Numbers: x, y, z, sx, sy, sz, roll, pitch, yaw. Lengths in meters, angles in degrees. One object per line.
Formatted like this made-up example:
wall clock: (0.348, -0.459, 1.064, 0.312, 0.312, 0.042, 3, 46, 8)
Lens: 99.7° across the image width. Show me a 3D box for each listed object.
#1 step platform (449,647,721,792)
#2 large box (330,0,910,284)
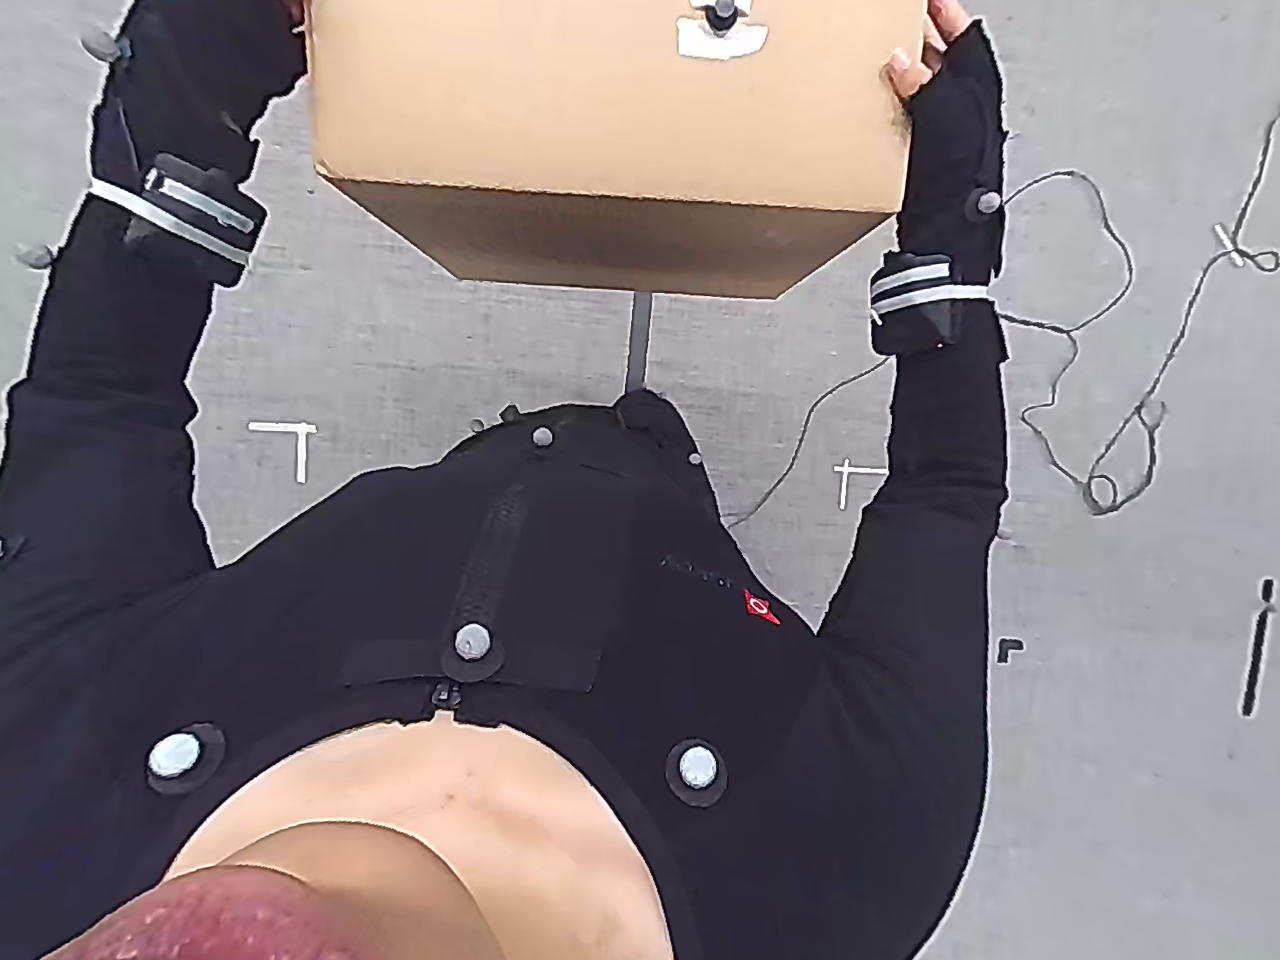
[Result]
step platform: (-0.135, 0.615, 1.399, 0.684, 0.204, 0.286, 3, 92, -1)
large box: (-0.015, -0.384, 0.512, 0.408, 0.320, 0.320, 2, 99, -3)
